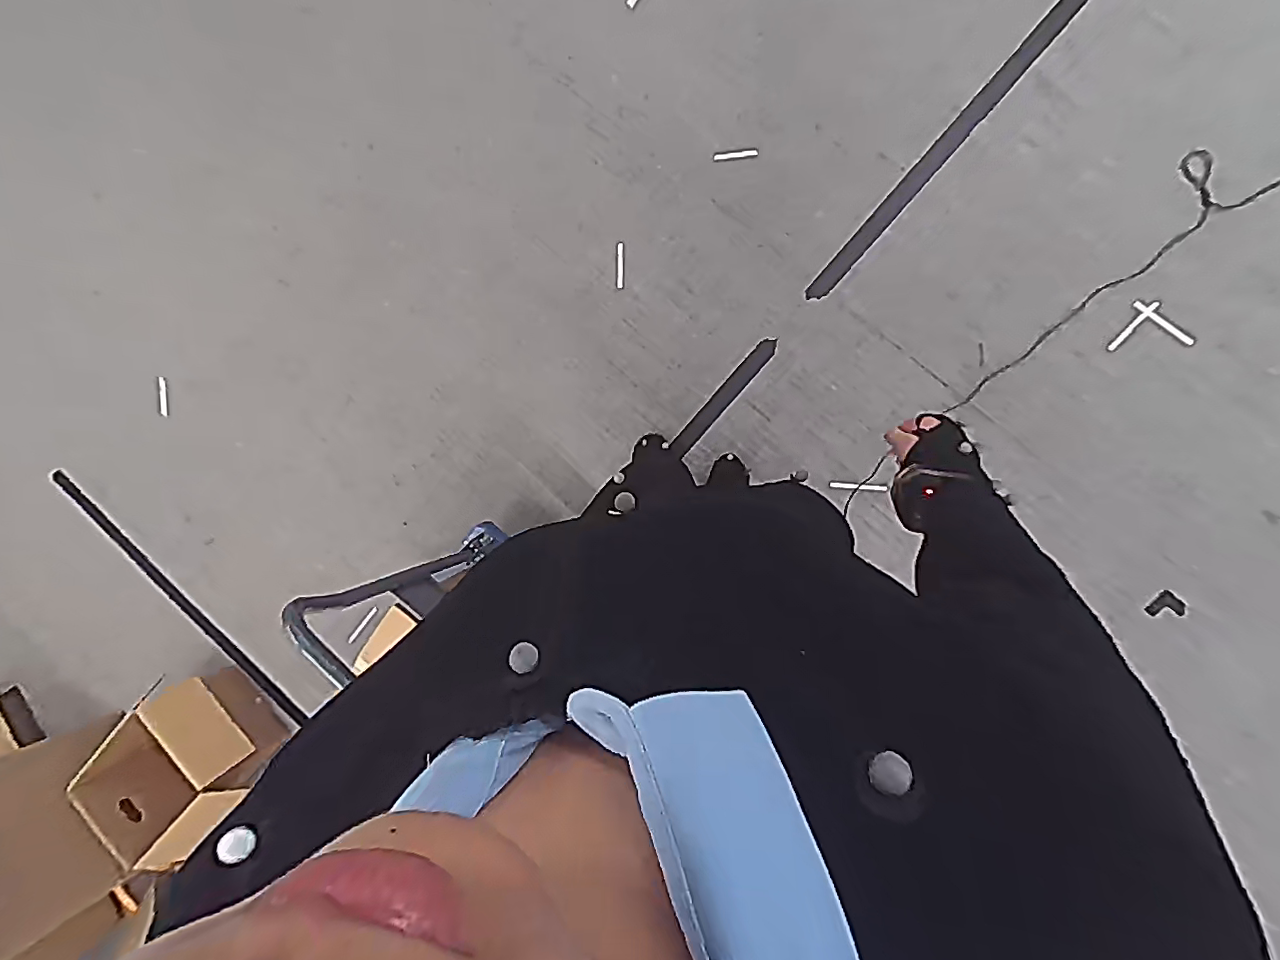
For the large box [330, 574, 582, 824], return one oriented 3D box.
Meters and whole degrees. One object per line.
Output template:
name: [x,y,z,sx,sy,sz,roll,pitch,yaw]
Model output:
large box: [-0.415,0.491,1.292,0.408,0.320,0.320,36,99,7]
